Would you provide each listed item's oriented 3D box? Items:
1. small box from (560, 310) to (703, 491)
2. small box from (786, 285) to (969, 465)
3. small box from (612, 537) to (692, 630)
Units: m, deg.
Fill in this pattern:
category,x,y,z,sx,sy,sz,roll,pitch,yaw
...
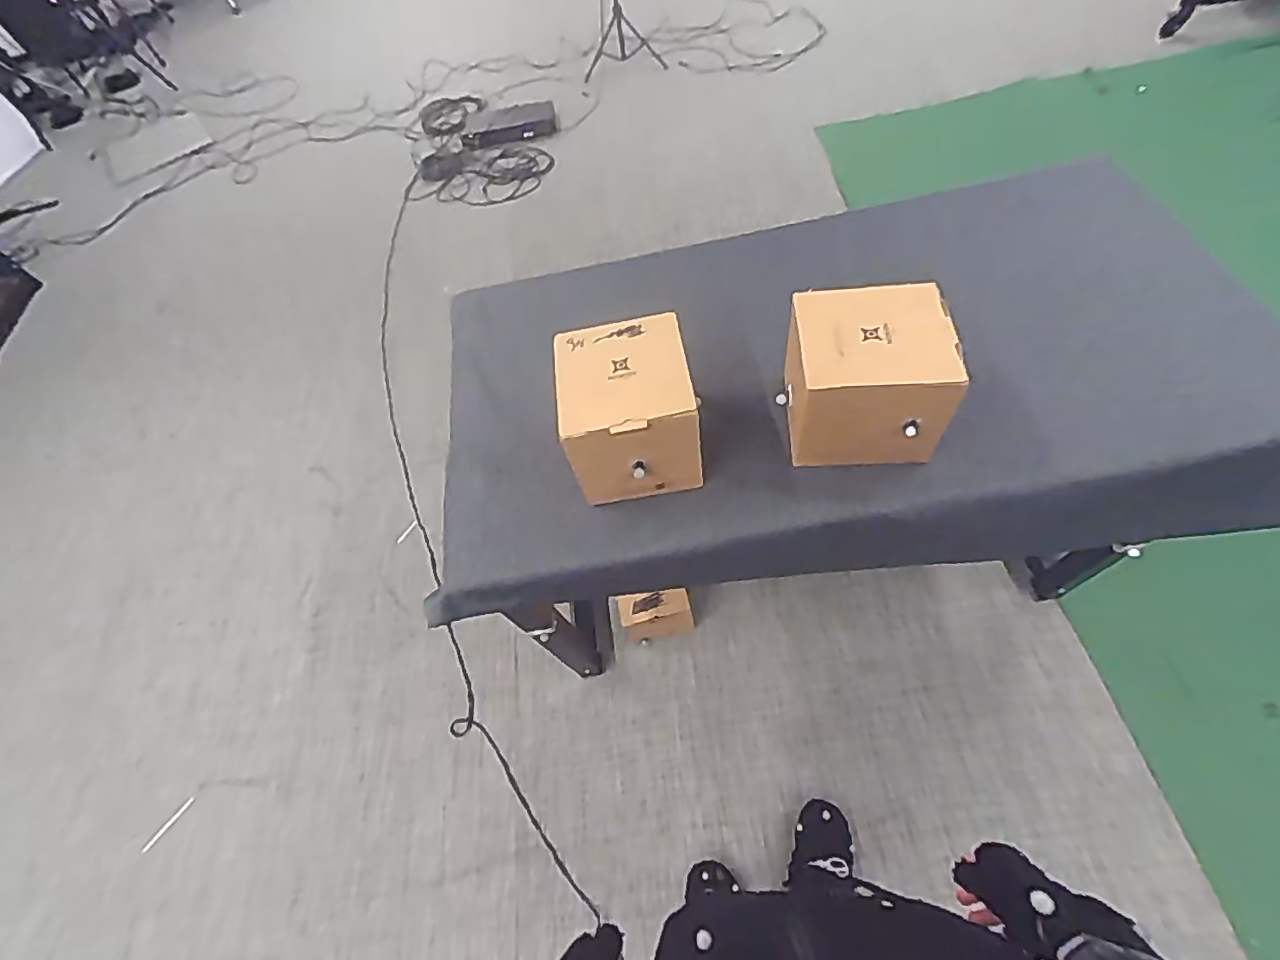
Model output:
category,x,y,z,sx,sy,sz,roll,pitch,yaw
small box,-0.008,-0.097,0.740,0.168,0.176,0.179,-9,59,3
small box,0.295,-0.131,0.716,0.179,0.176,0.168,-2,59,9
small box,0.034,0.271,1.372,0.168,0.176,0.179,-12,59,1
